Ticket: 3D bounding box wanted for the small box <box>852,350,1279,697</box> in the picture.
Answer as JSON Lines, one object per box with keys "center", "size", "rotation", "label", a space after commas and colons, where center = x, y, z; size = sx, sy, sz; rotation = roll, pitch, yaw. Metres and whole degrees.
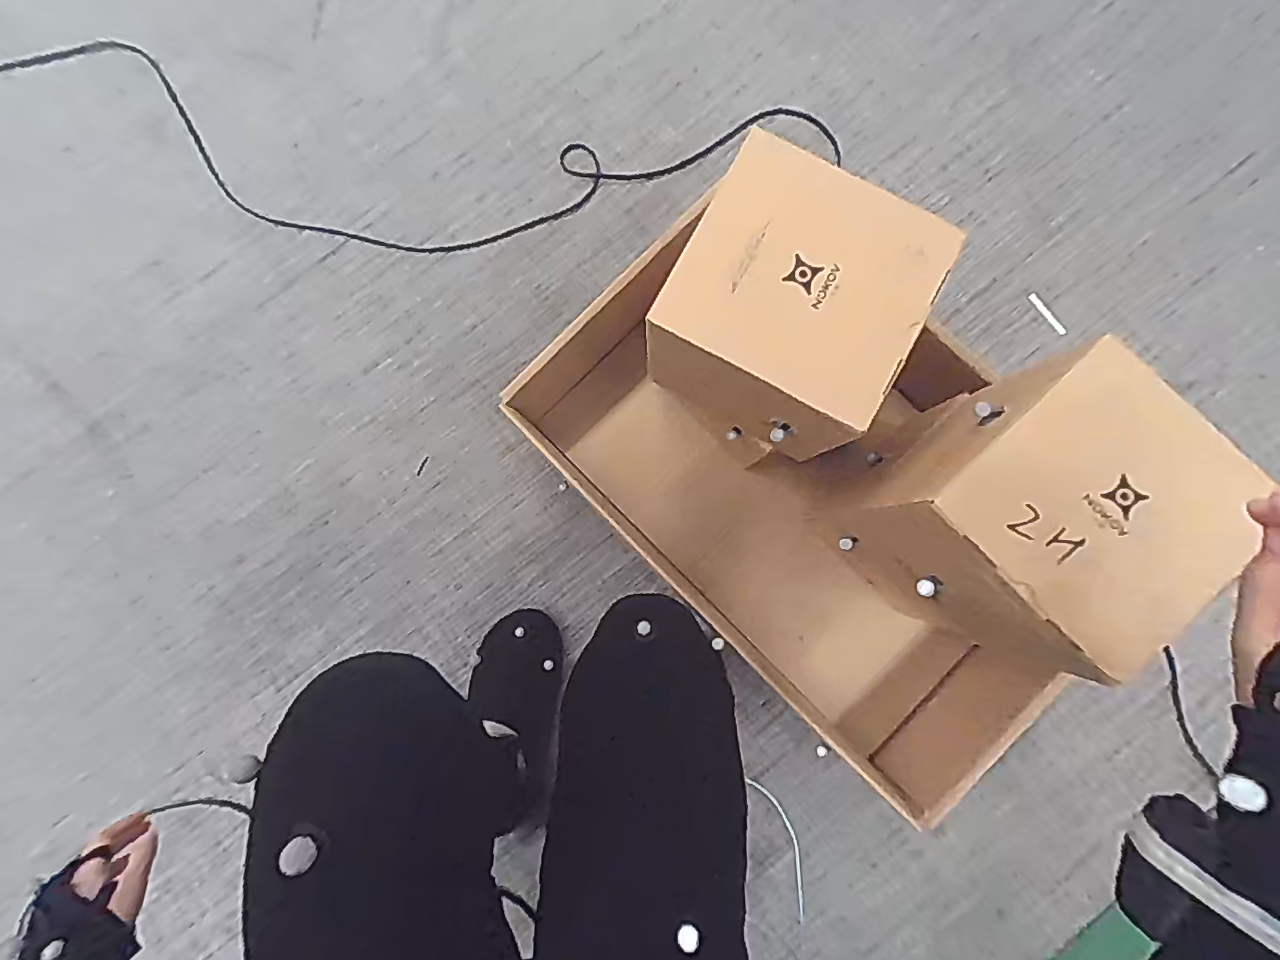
{"center": [0.309, 0.033, 0.437], "size": [0.179, 0.176, 0.168], "rotation": [-42, 84, -2], "label": "small box"}
